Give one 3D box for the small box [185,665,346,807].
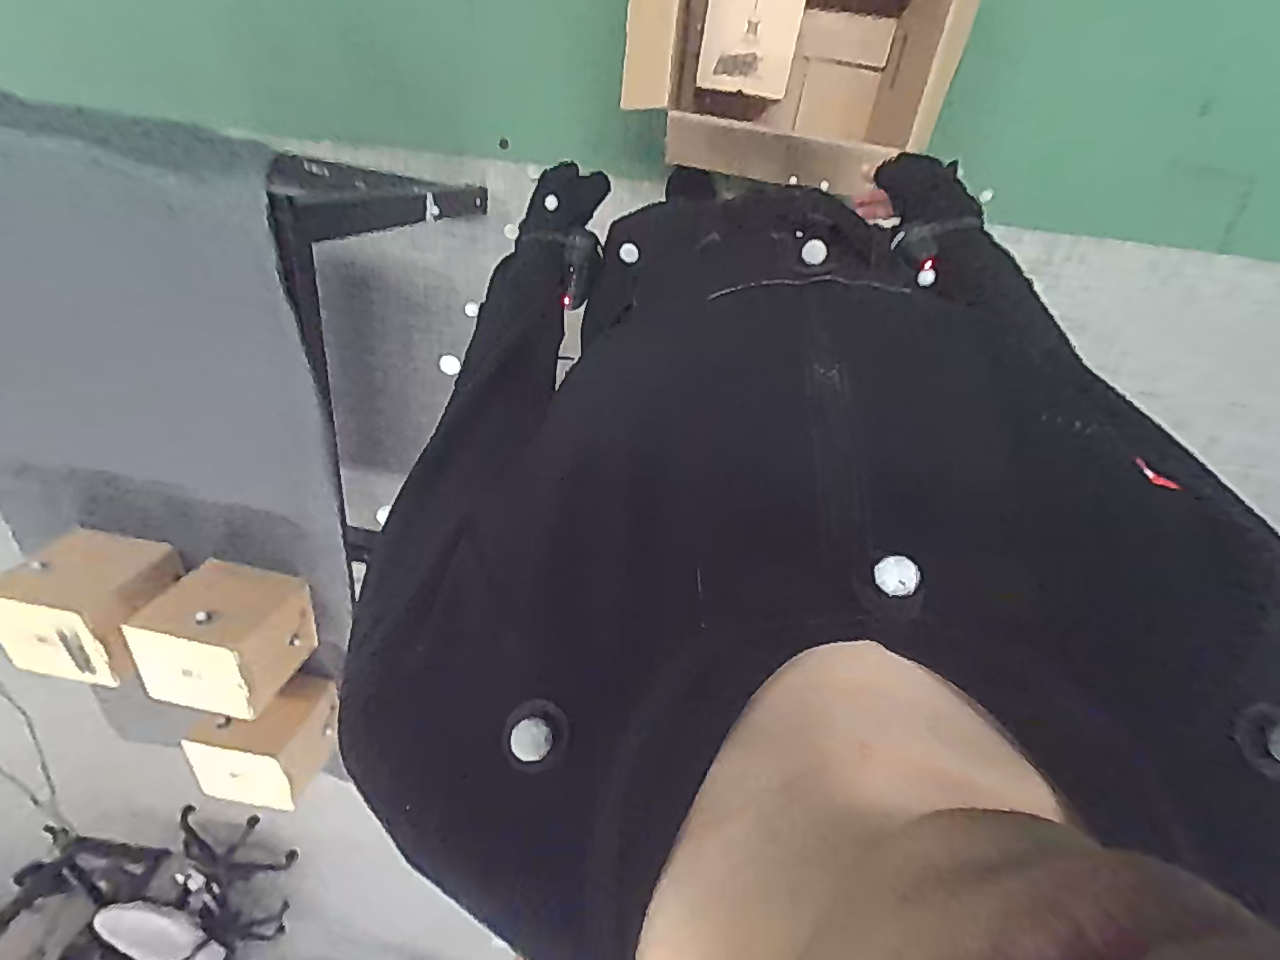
[{"bbox_3d":[-0.700,0.481,1.032,0.179,0.176,0.168,10,120,1],"label":"small box"}]
